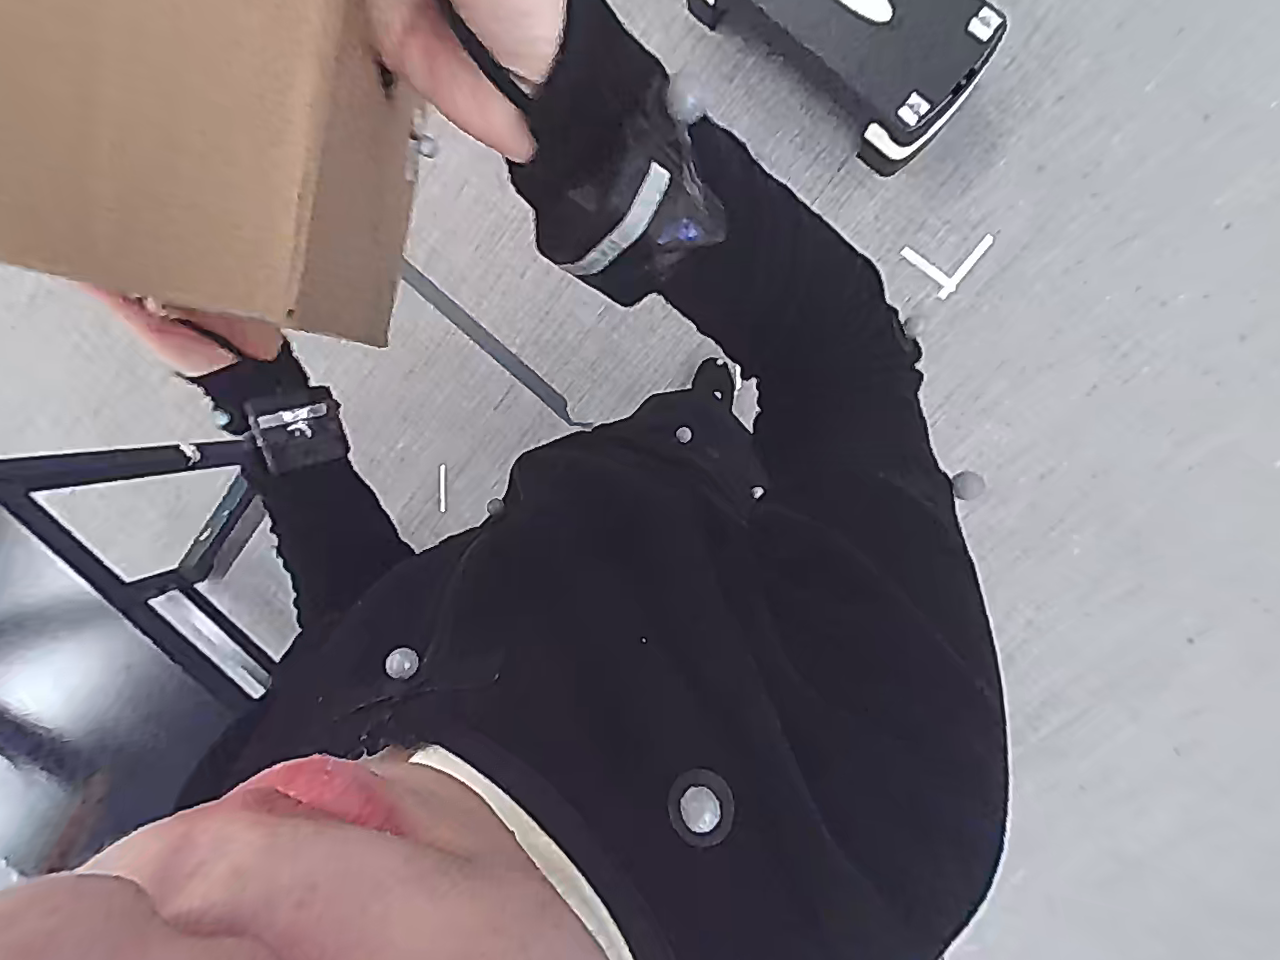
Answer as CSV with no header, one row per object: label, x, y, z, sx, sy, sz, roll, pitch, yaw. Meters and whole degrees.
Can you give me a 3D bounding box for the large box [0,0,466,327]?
large box,-0.295,-0.272,0.224,0.408,0.320,0.320,12,97,-20
